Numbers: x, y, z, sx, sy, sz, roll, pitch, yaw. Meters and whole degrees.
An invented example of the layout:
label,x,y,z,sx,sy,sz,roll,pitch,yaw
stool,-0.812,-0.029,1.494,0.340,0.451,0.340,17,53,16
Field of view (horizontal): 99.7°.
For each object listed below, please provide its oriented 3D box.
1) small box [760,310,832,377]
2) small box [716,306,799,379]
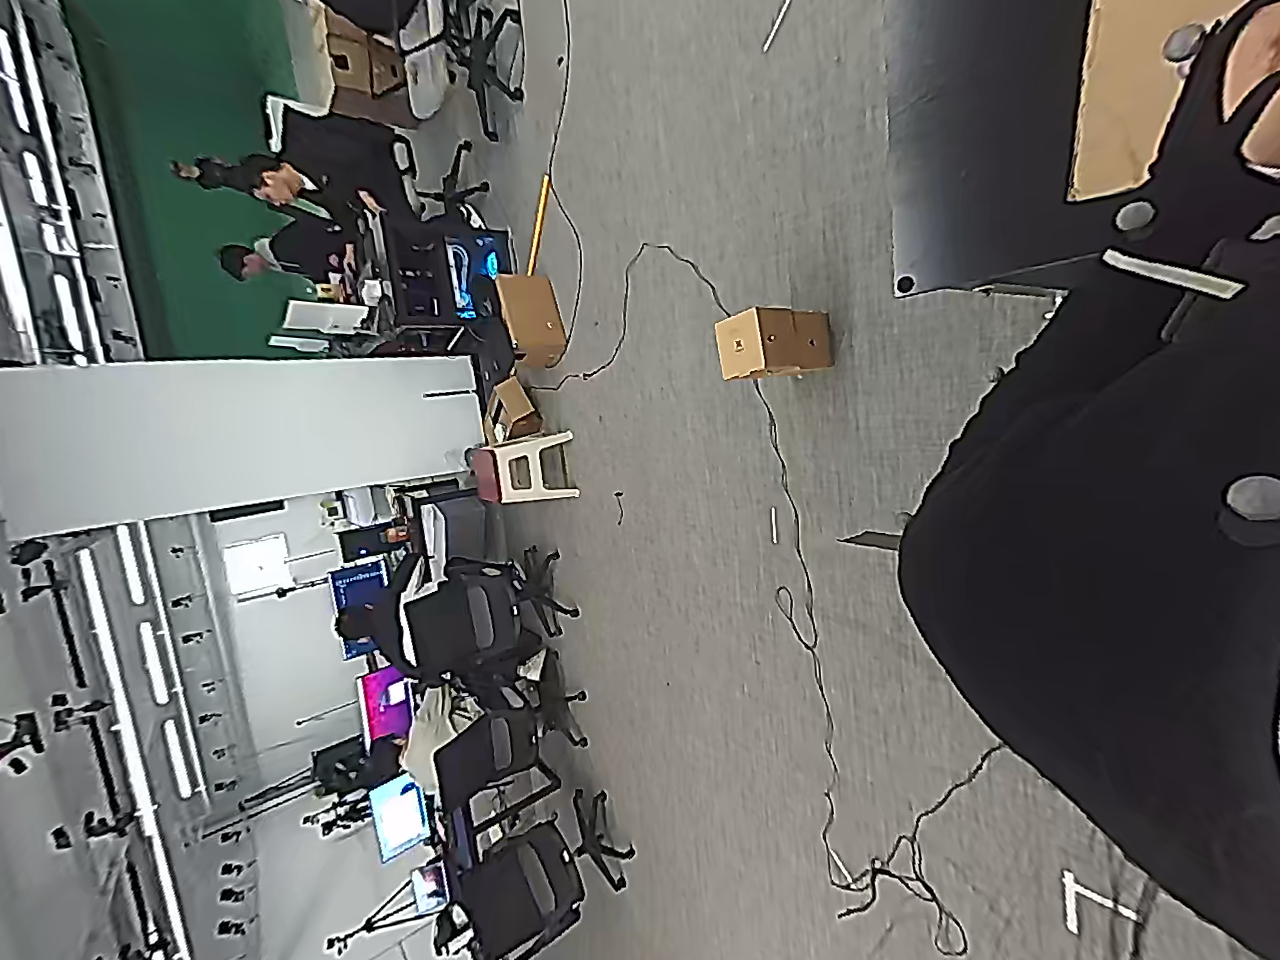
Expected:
label,x,y,z,sx,sy,sz,roll,pitch,yaw
small box,0.484,-0.429,1.706,0.168,0.176,0.179,-1,99,54
small box,0.353,-0.408,1.612,0.168,0.176,0.179,-7,93,53
